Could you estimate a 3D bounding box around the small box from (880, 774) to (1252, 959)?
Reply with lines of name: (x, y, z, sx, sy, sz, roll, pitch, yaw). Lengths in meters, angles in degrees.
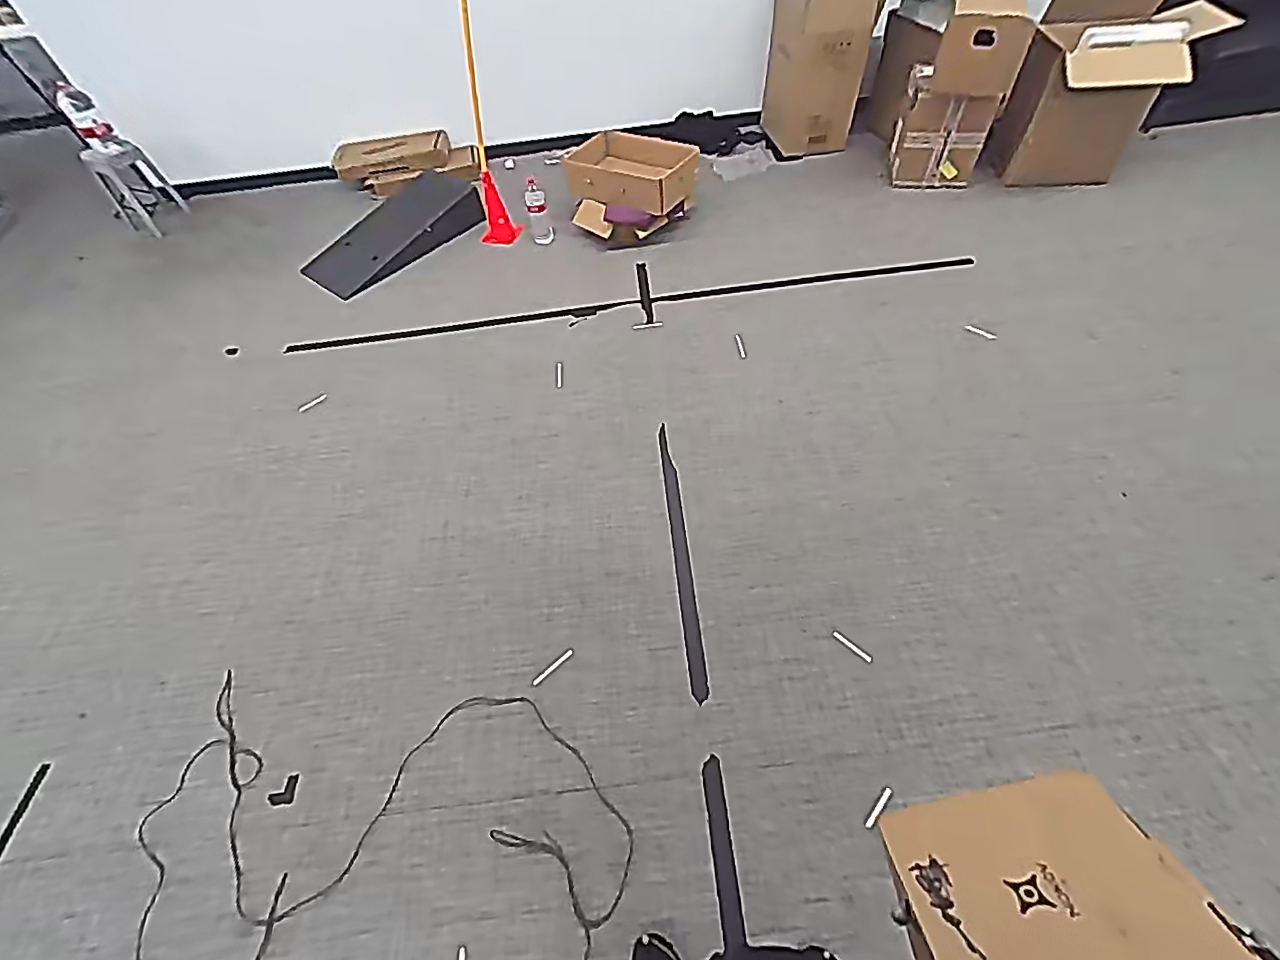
small box: (0.312, 0.367, 0.408, 0.179, 0.176, 0.168, -18, 16, 8)
